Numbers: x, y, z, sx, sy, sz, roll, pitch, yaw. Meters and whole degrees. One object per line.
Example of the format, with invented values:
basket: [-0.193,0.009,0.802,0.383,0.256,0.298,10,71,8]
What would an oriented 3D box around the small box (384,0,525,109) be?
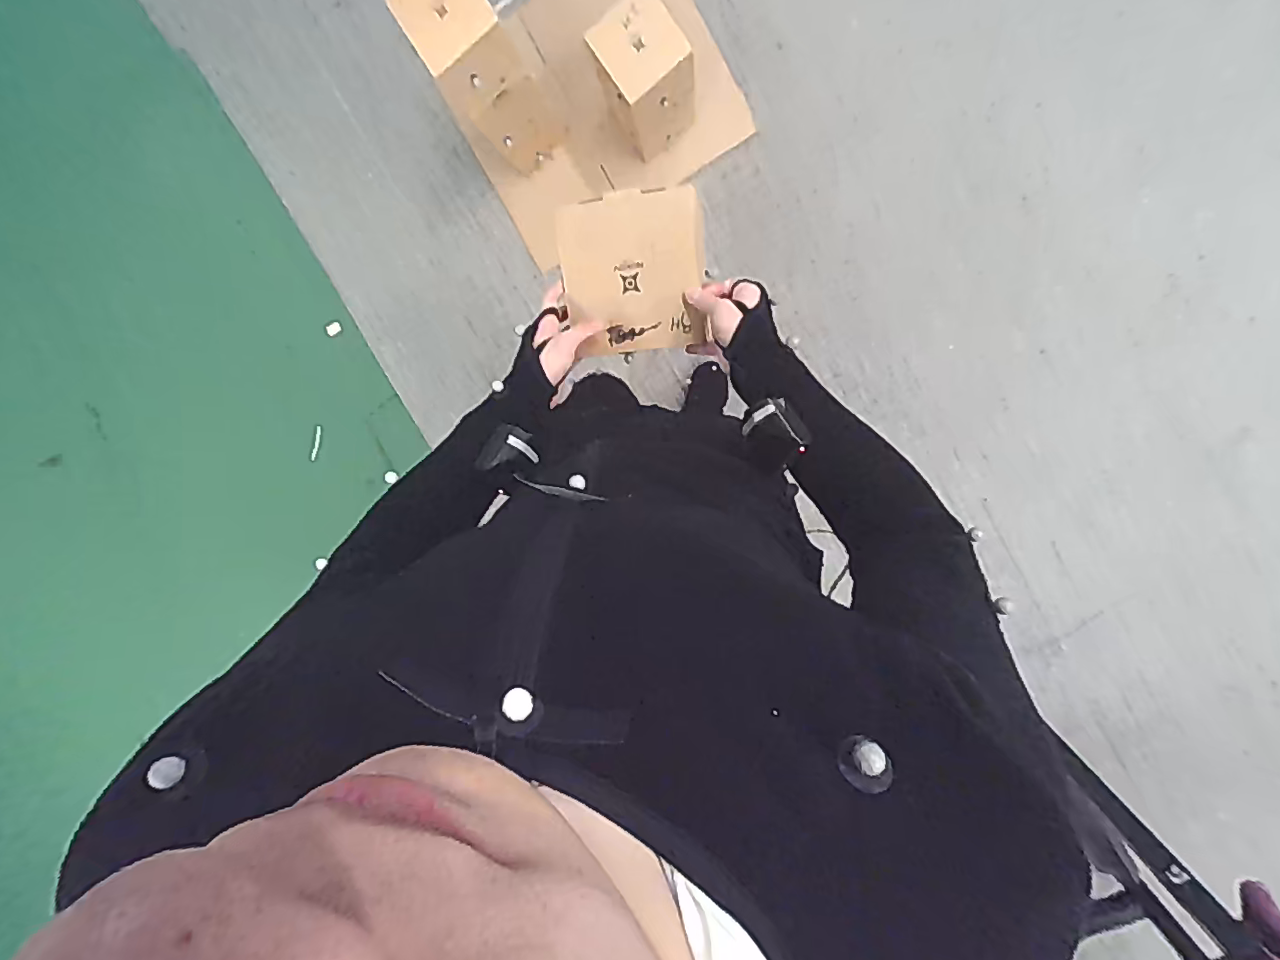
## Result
small box: [-0.361,-0.893,1.088,0.168,0.176,0.179,-32,93,13]

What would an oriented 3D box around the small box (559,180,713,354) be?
small box: [0.006,-0.262,0.701,0.168,0.176,0.179,-4,106,11]

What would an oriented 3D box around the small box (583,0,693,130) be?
small box: [0.005,-0.915,1.191,0.168,0.176,0.179,-35,94,12]

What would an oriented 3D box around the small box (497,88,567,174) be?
small box: [-0.318,-0.945,1.406,0.168,0.176,0.179,-36,93,13]

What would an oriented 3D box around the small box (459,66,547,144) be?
small box: [-0.341,-0.917,1.247,0.168,0.176,0.179,-33,93,13]
